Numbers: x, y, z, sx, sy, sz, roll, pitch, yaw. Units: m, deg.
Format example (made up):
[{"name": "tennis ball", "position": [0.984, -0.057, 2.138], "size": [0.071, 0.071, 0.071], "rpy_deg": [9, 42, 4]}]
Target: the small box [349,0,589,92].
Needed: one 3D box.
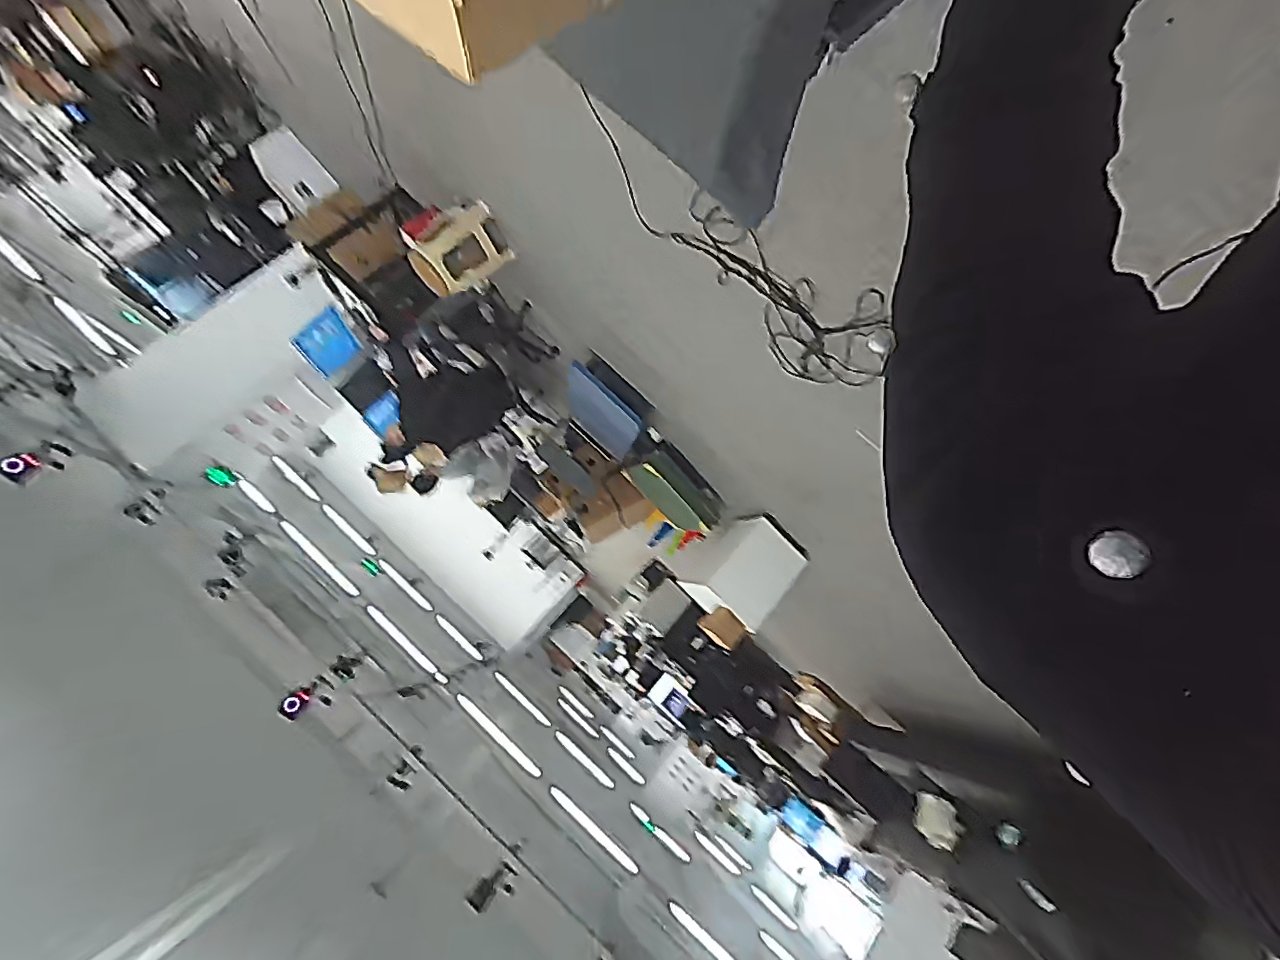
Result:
[{"name": "small box", "position": [-0.138, -0.456, 0.409], "size": [0.179, 0.176, 0.168], "rpy_deg": [40, 162, 9]}]
